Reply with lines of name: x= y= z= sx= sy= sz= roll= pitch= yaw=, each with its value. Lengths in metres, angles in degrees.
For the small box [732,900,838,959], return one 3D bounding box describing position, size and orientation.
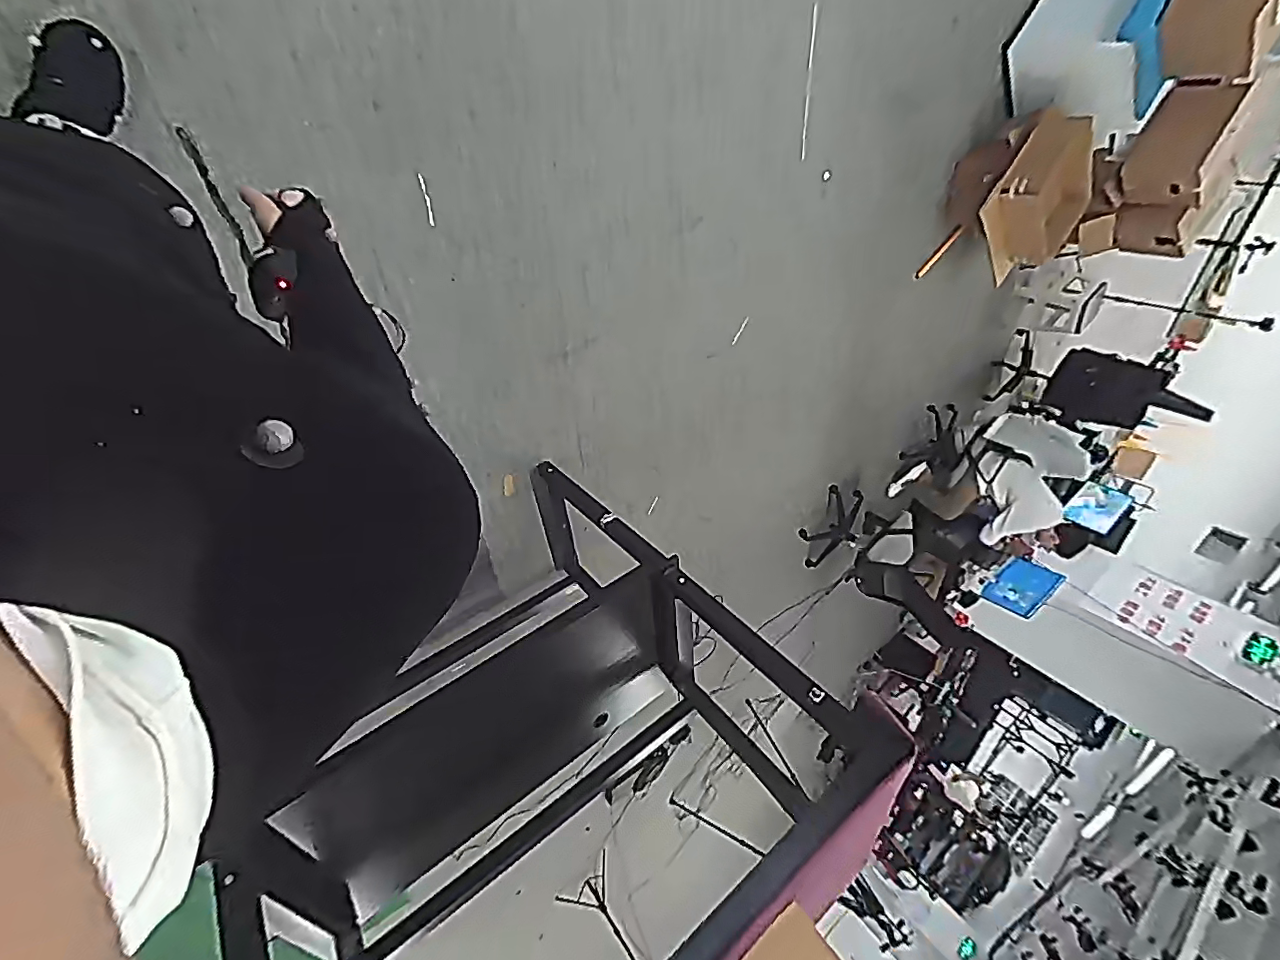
small box: x=0.247 y=0.863 z=0.904 sx=0.179 sy=0.176 sz=0.168 roll=-25 pitch=132 yaw=-29
